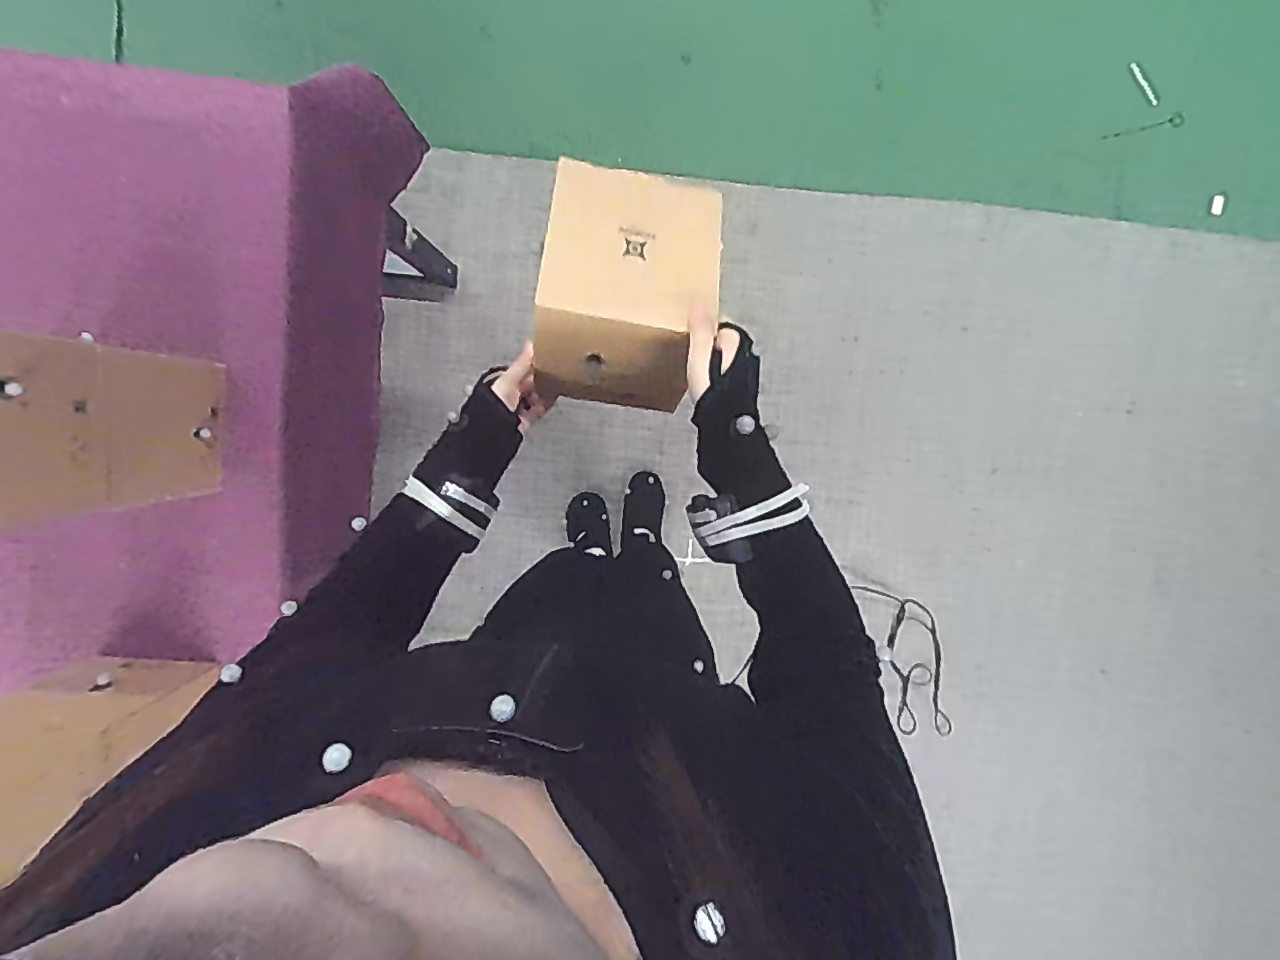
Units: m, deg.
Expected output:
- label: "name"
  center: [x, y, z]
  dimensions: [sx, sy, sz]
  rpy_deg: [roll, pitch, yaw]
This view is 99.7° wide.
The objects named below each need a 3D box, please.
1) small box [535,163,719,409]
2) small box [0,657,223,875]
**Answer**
- label: "small box"
  center: [-0.019, -0.196, 0.589]
  dimensions: [0.168, 0.176, 0.179]
  rpy_deg: [8, 69, -9]
- label: "small box"
  center: [-0.647, 0.331, 0.655]
  dimensions: [0.168, 0.176, 0.179]
  rpy_deg: [4, 95, -2]
